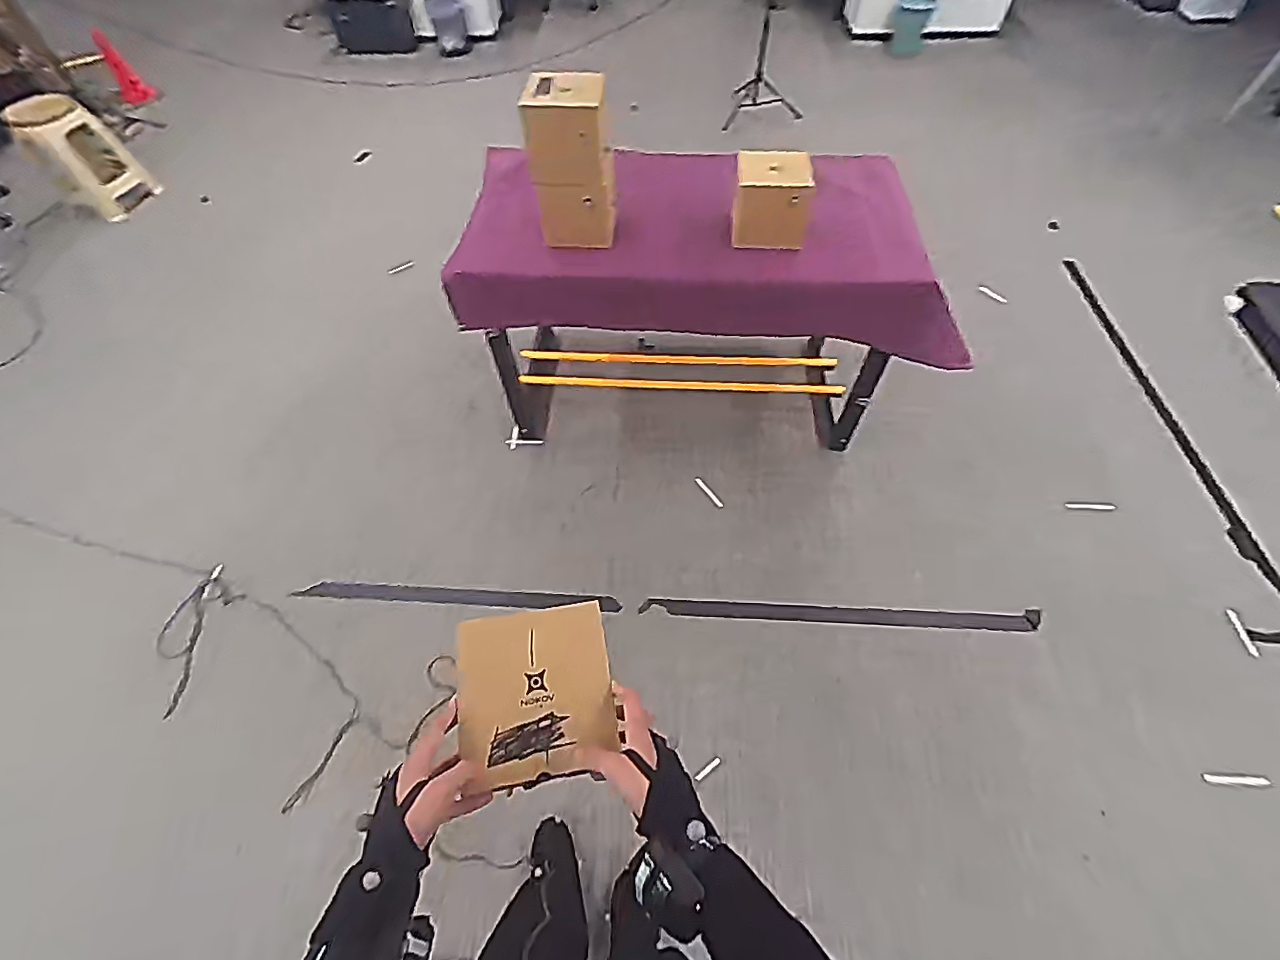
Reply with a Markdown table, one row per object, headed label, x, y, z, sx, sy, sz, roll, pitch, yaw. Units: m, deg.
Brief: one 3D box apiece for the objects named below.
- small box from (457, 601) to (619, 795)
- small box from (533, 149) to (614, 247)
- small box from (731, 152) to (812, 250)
| label | x | y | z | sx | sy | sz | roll | pitch | yaw |
| --- | --- | --- | --- | --- | --- | --- | --- | --- | --- |
| small box | -0.120 | 0.259 | 0.650 | 0.168 | 0.176 | 0.179 | -5 | 64 | -11 |
| small box | -0.162 | -0.723 | 1.396 | 0.179 | 0.176 | 0.168 | 4 | 57 | 3 |
| small box | 0.326 | -0.710 | 1.382 | 0.179 | 0.176 | 0.168 | 3 | 57 | 3 |
